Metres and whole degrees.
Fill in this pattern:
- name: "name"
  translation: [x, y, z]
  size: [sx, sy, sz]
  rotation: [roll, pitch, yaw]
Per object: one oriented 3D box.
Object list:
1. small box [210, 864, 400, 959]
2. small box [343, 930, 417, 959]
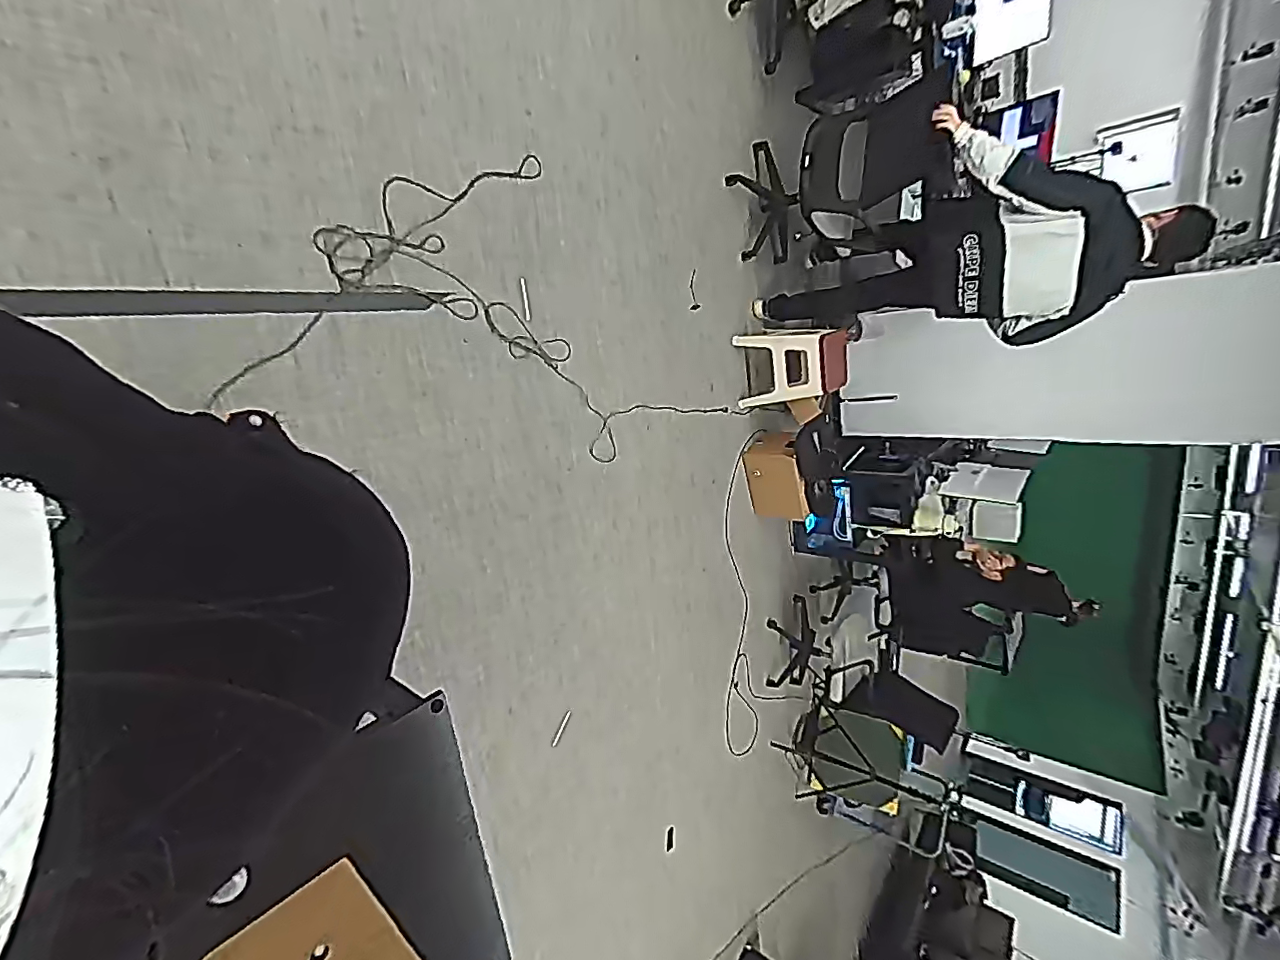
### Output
- name: "small box"
  translation: [-0.421, 0.654, 0.695]
  size: [0.179, 0.176, 0.168]
  rotation: [-21, 109, -46]
- name: "small box"
  translation: [-0.296, 0.662, 0.591]
  size: [0.168, 0.176, 0.179]
  rotation: [-23, 110, -48]
